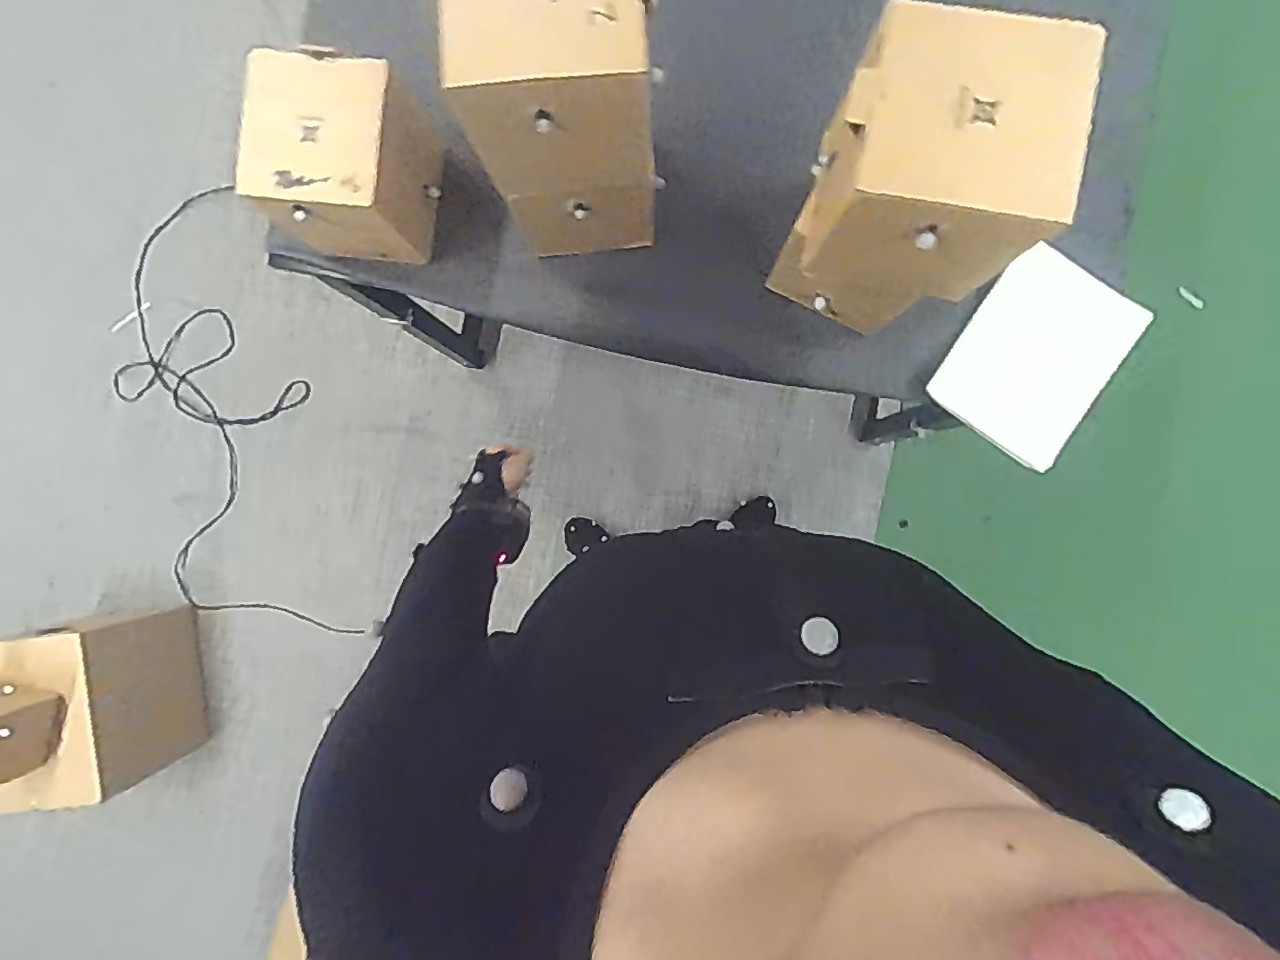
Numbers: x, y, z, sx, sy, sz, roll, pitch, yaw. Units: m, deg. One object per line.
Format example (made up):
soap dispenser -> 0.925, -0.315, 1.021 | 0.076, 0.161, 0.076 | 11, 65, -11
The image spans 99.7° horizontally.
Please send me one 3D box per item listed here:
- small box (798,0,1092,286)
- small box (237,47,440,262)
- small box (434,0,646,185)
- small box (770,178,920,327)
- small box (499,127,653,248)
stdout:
small box -> 0.270, -0.304, 0.520 | 0.179, 0.176, 0.168 | 10, 89, 3
small box -> -0.382, -0.416, 0.716 | 0.168, 0.176, 0.179 | 6, 89, 2
small box -> -0.087, -0.420, 0.539 | 0.179, 0.176, 0.168 | -2, 89, 3
small box -> 0.281, -0.325, 0.682 | 0.168, 0.176, 0.179 | 27, 90, 4
small box -> -0.078, -0.421, 0.704 | 0.179, 0.176, 0.168 | -5, 90, 3
